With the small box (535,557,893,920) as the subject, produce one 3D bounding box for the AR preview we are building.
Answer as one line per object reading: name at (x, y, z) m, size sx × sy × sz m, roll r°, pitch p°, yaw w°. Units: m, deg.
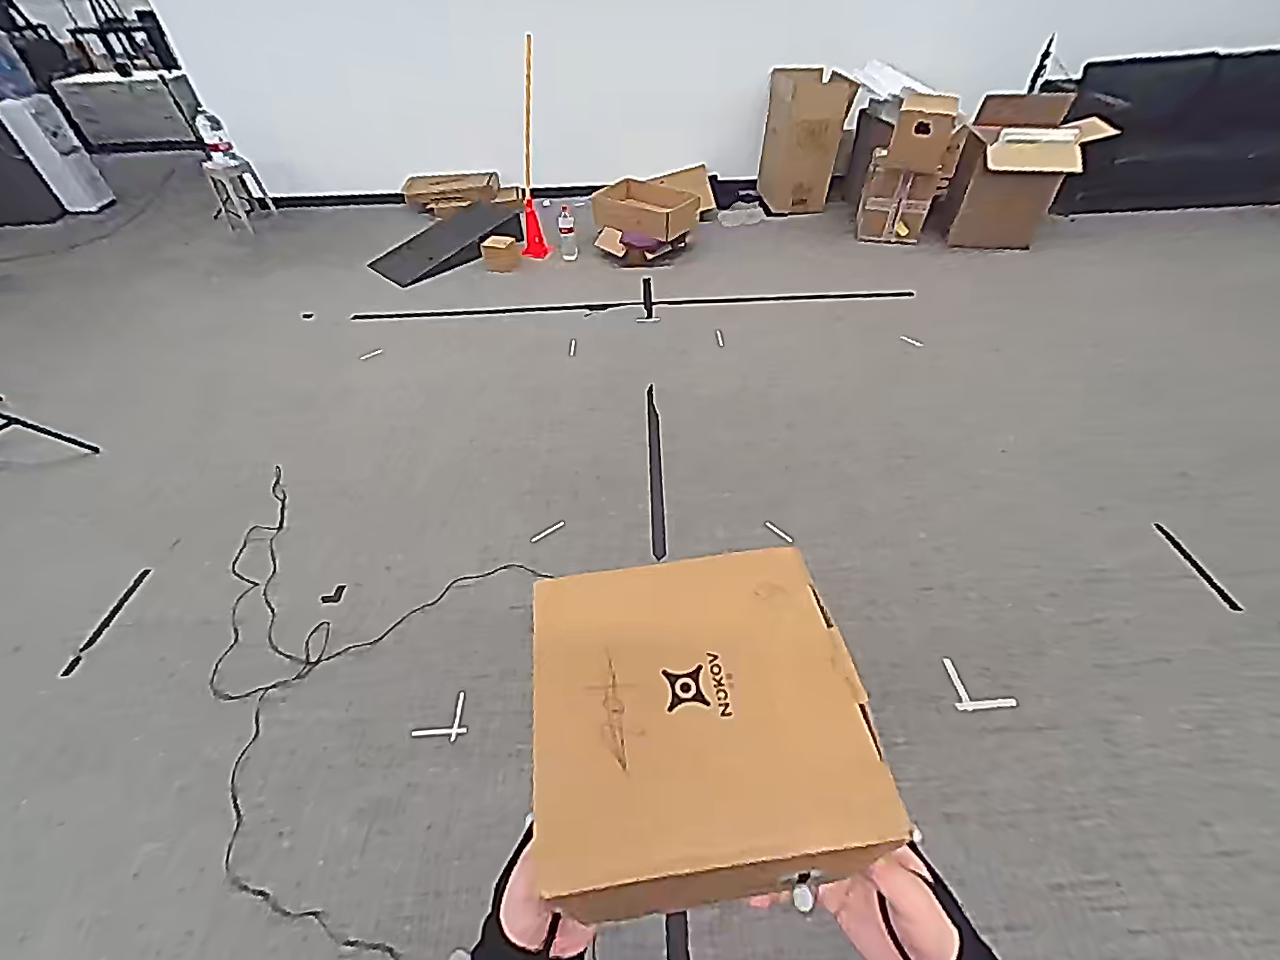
small box at (0.031, 0.175, 0.365) m, size 0.179 × 0.176 × 0.168 m, roll -8°, pitch 46°, yaw -3°
